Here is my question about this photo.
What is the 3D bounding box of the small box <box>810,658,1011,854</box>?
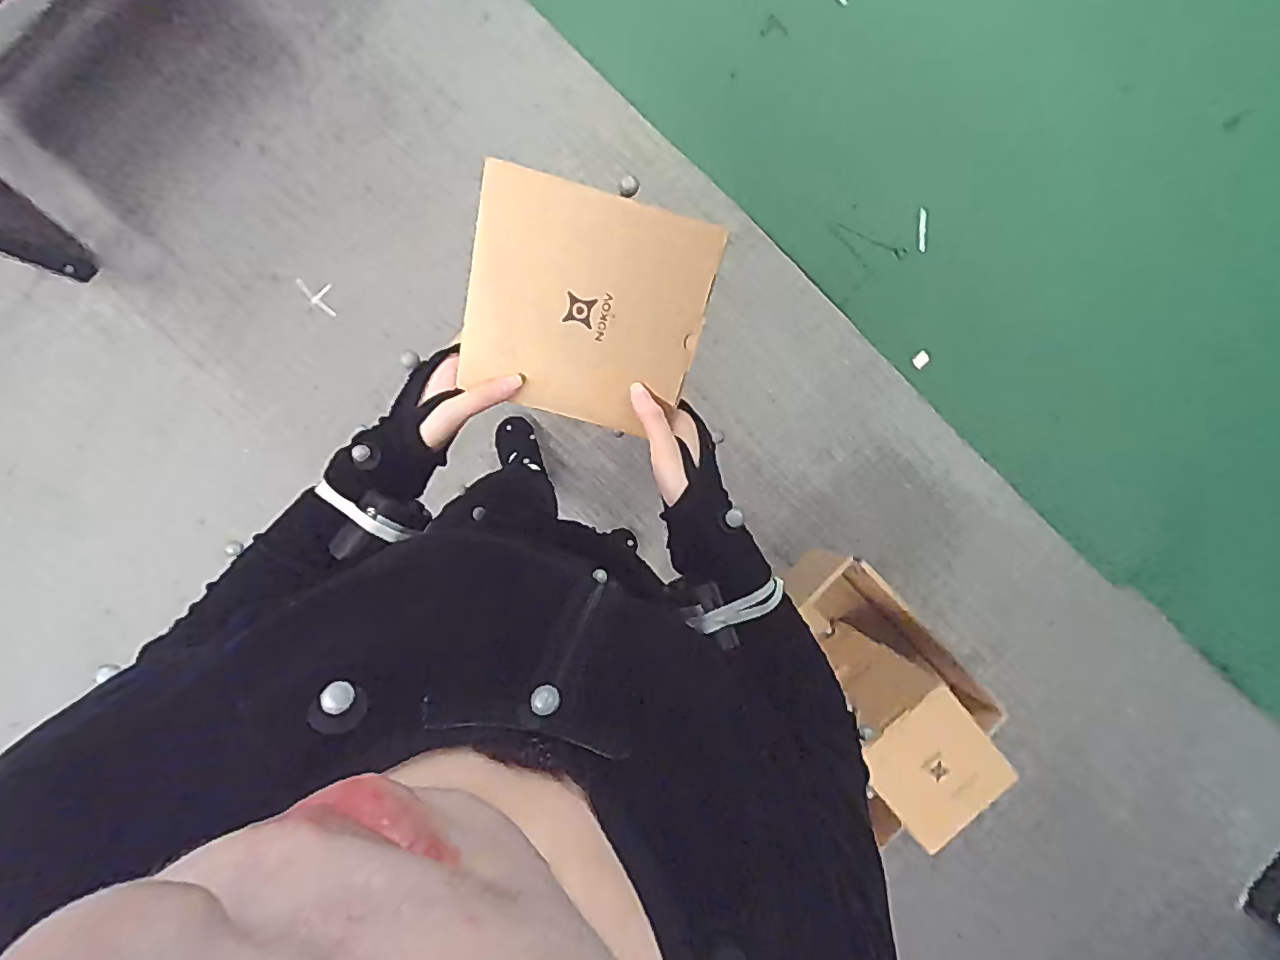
[{"bbox_3d":[0.389,0.393,0.813,0.168,0.176,0.179,-39,93,-1],"label":"small box"}]

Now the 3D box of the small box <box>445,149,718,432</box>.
[{"bbox_3d":[-0.049,-0.161,0.474,0.179,0.176,0.168,13,113,-7],"label":"small box"}]
